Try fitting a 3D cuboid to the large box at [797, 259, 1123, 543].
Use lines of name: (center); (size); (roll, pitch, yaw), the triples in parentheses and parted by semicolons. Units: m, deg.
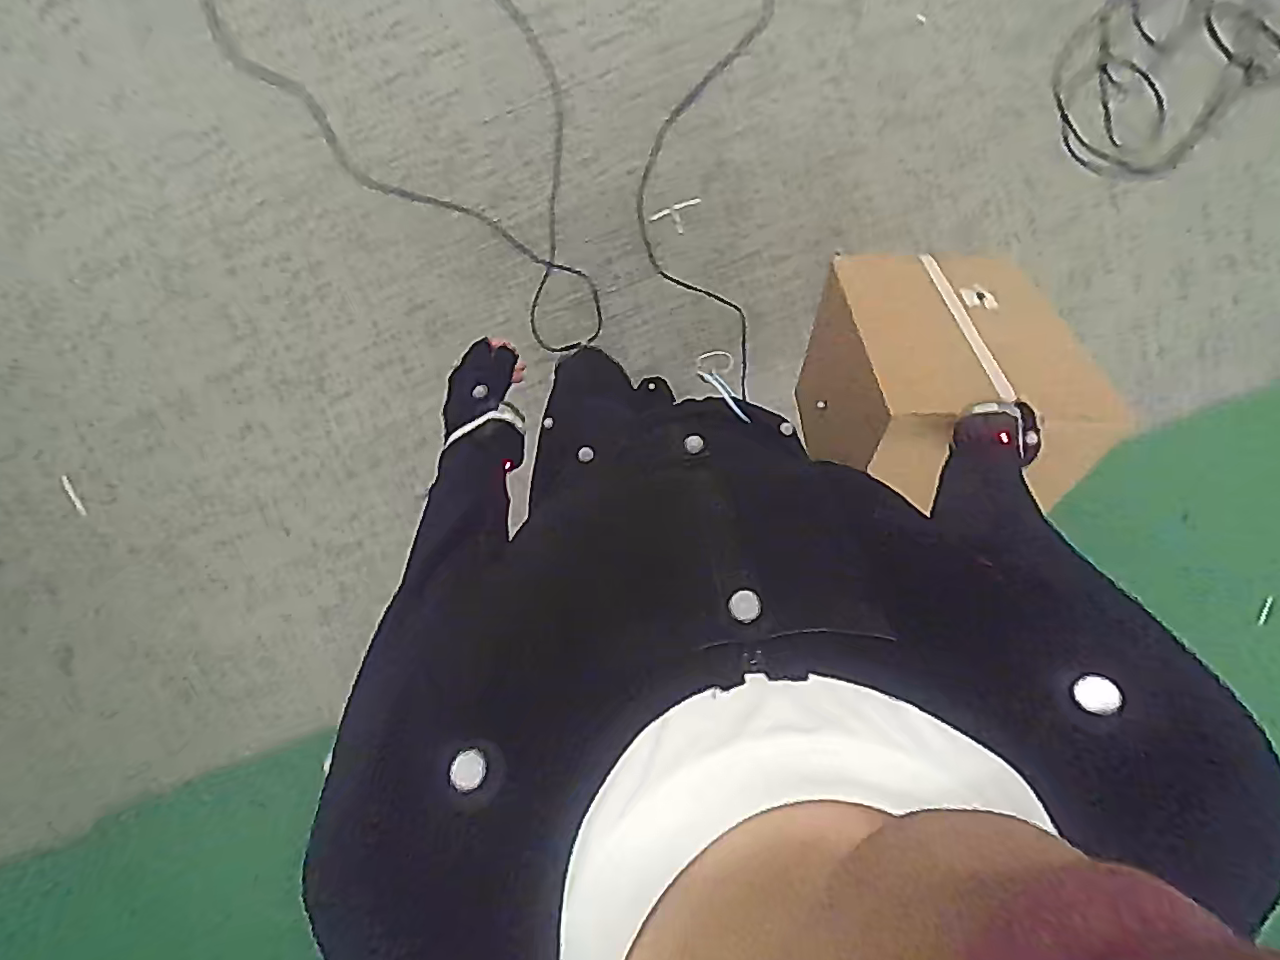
large box: (0.485, -0.137, 0.943); (0.320, 0.408, 0.320); (2, 140, 1)
